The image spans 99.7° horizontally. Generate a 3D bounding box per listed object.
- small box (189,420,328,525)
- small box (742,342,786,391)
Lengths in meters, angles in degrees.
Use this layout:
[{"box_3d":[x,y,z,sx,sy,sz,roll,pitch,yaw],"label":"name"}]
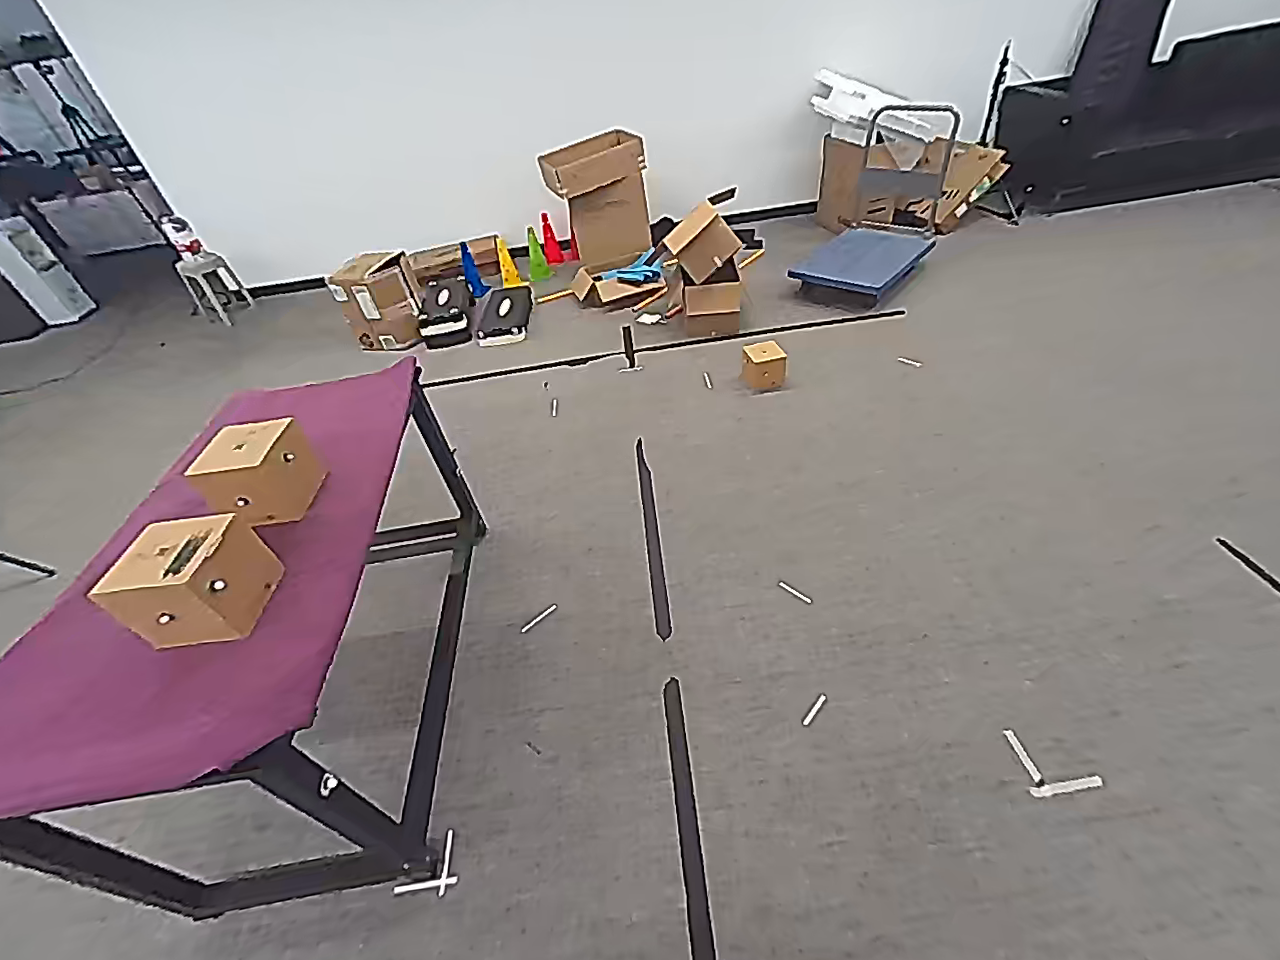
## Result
[{"box_3d":[-0.852,-0.011,1.234,0.168,0.176,0.179,-7,41,2],"label":"small box"},{"box_3d":[0.618,-0.560,2.697,0.168,0.176,0.179,-13,41,-5],"label":"small box"}]
